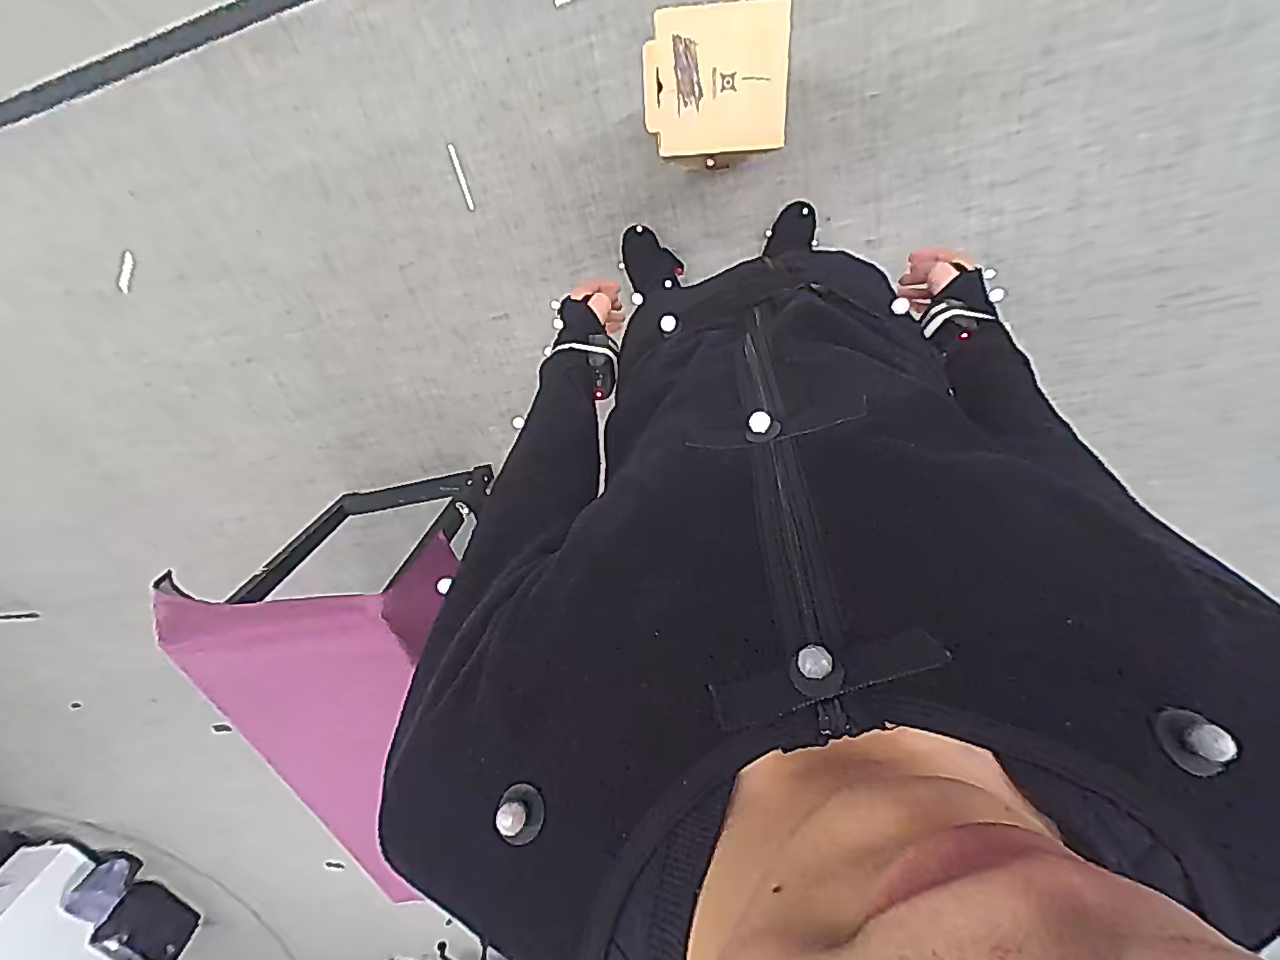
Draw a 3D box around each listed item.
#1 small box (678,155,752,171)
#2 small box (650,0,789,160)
[{"bbox_3d":[0.160,-0.812,1.220,0.168,0.176,0.179,-7,118,9],"label":"small box"},{"bbox_3d":[0.110,-0.571,0.791,0.179,0.176,0.168,-2,119,5],"label":"small box"}]
